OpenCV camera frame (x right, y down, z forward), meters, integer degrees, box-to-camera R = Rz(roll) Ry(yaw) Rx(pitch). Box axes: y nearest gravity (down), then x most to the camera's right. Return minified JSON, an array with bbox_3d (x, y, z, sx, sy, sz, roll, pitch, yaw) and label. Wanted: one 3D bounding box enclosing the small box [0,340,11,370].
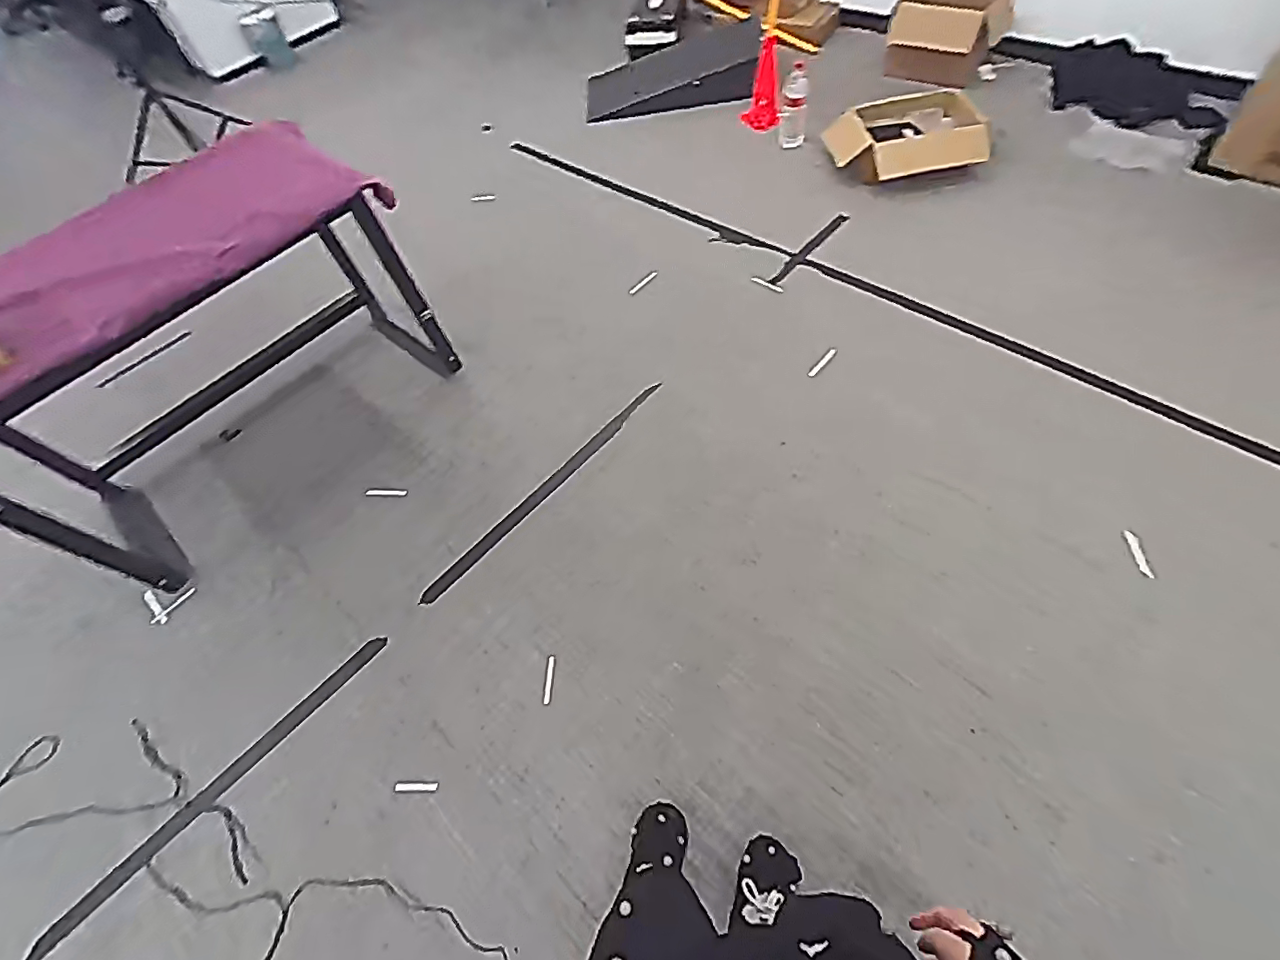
[{"bbox_3d":[-1.516,-0.294,1.139,0.179,0.176,0.168,33,69,25],"label":"small box"}]
